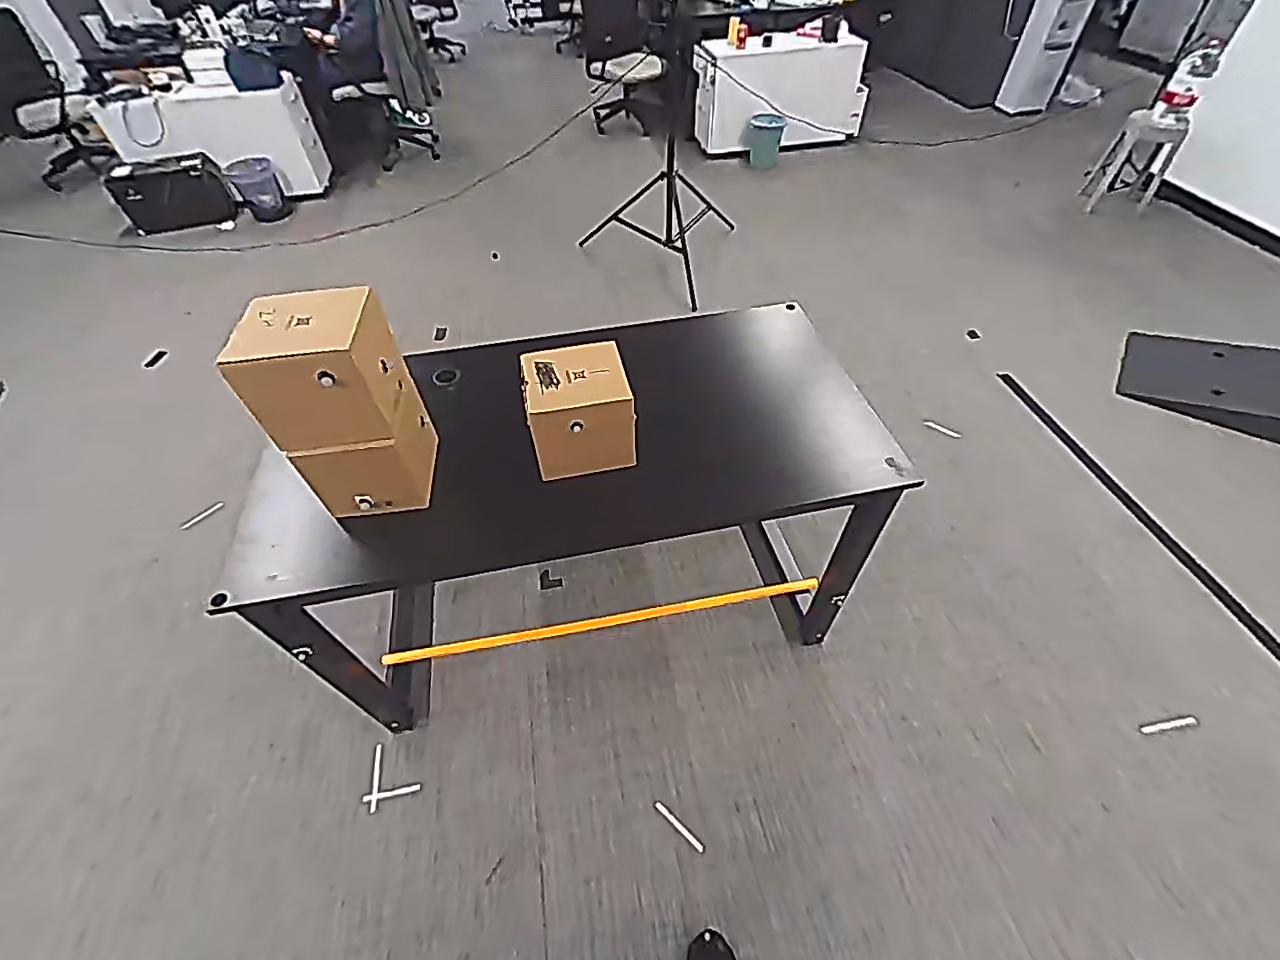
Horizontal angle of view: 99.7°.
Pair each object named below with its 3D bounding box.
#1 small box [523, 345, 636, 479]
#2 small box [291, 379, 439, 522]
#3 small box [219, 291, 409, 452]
[{"bbox_3d":[-0.108,-0.120,0.990,0.179,0.176,0.168,-10,50,-7],"label":"small box"},{"bbox_3d":[-0.463,-0.051,0.946,0.168,0.176,0.179,-8,51,-3],"label":"small box"},{"bbox_3d":[-0.474,-0.162,0.824,0.179,0.176,0.168,-8,49,-3],"label":"small box"}]
